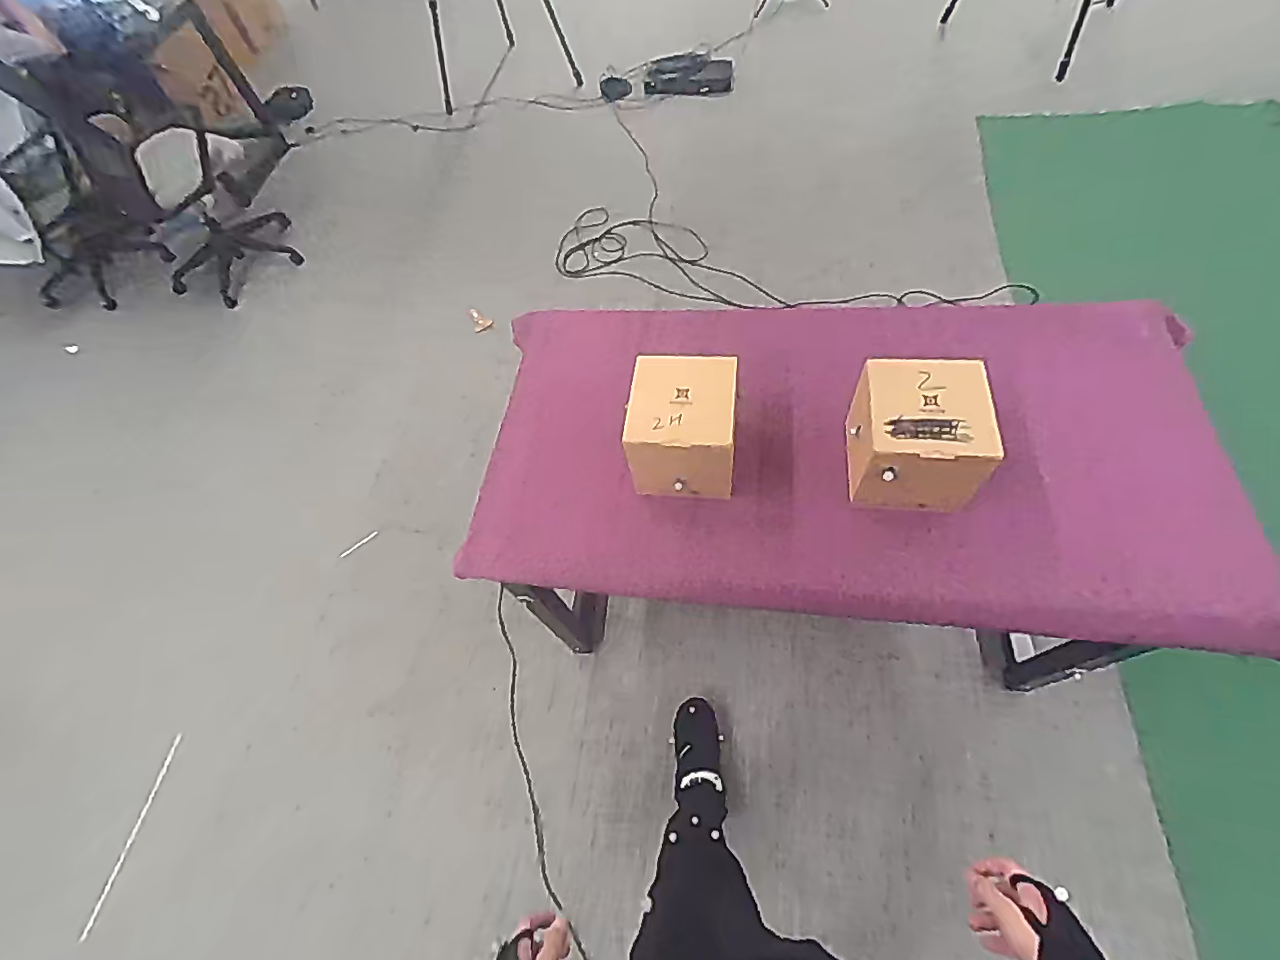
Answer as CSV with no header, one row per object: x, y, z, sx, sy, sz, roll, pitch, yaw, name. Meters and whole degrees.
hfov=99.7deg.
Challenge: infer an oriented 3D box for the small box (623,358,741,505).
0.075,-0.079,0.899,0.168,0.176,0.179,4,61,11,small box
